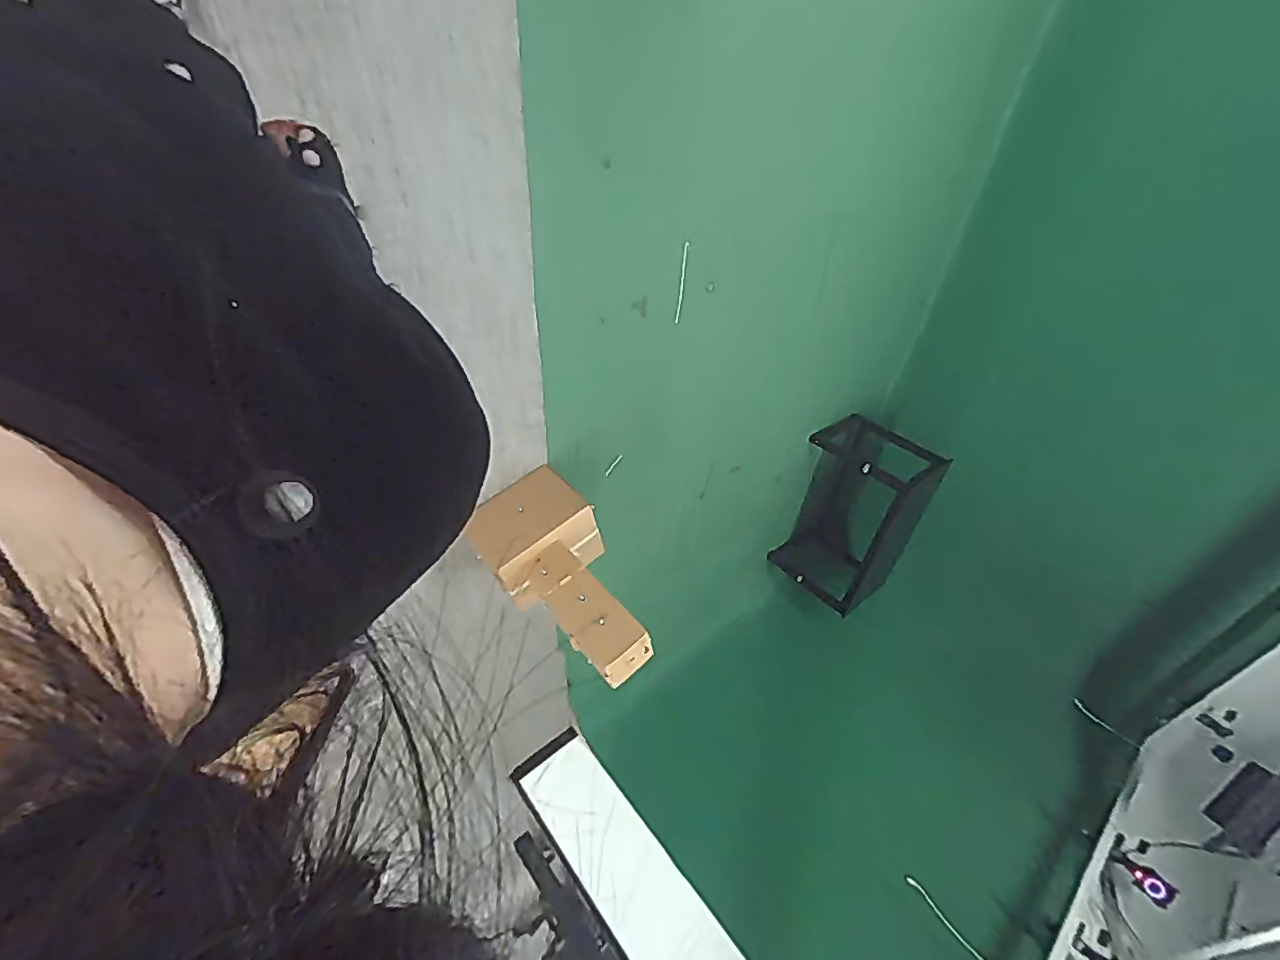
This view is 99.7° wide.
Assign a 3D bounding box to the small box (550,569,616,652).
[{"bbox_3d":[-0.188,0.440,1.837,0.179,0.176,0.168,-37,142,-21],"label":"small box"}]

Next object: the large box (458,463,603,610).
[{"bbox_3d":[-0.415,0.213,2.092,0.408,0.320,0.320,-37,144,-22],"label":"large box"}]

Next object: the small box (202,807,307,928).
[{"bbox_3d":[-1.006,0.989,1.406,0.168,0.176,0.179,12,113,-52],"label":"small box"}]

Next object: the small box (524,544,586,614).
[{"bbox_3d":[-0.291,0.353,1.929,0.168,0.176,0.179,-35,142,-21],"label":"small box"}]

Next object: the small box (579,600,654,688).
[{"bbox_3d":[-0.080,0.525,1.746,0.179,0.176,0.168,-35,142,-20],"label":"small box"}]
